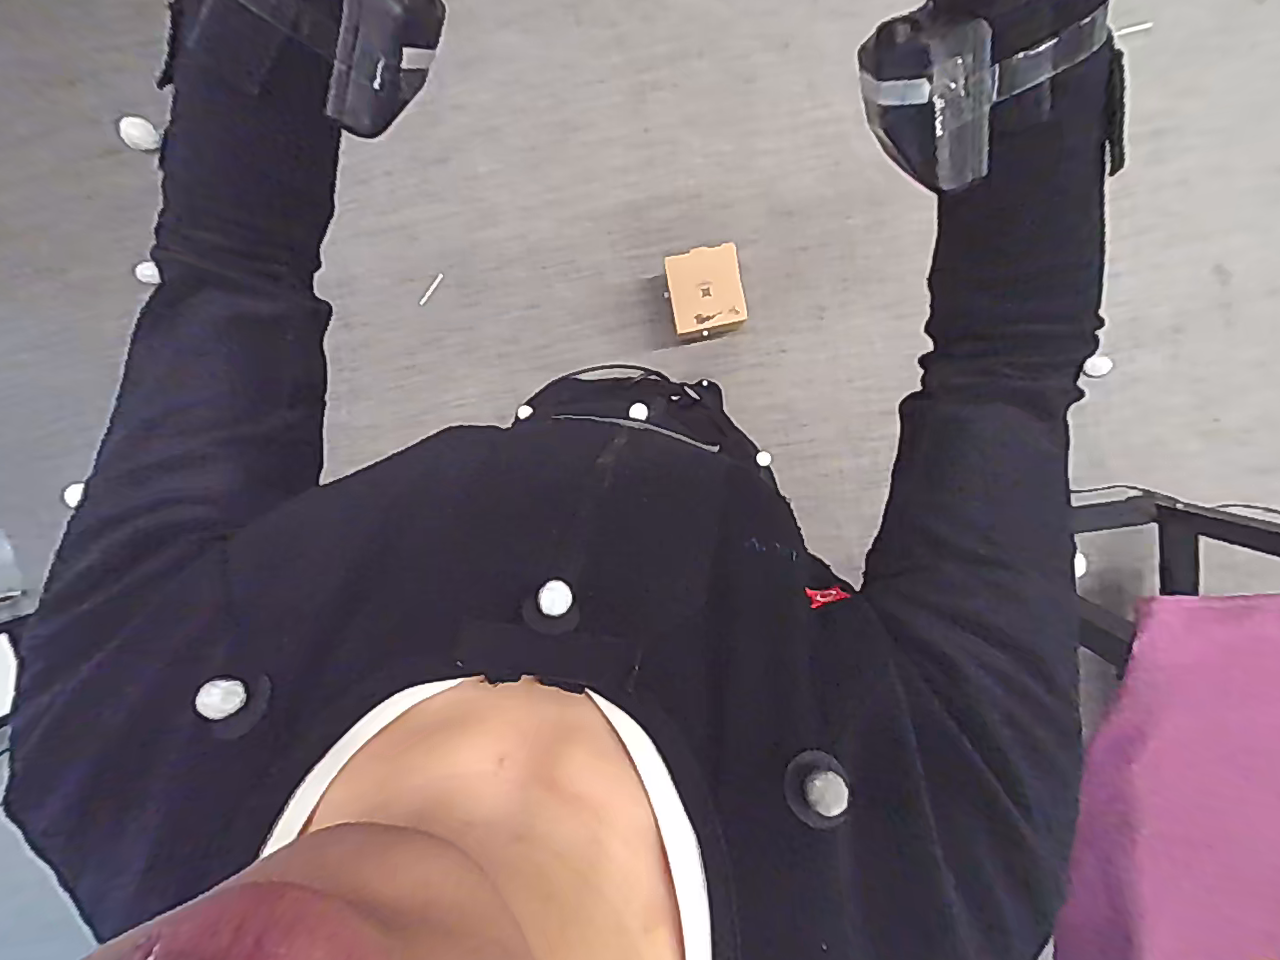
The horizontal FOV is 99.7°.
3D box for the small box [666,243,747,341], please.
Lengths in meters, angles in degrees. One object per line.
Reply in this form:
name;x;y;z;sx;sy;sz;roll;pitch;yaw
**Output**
small box;0.156;-0.447;1.312;0.168;0.176;0.179;-10;97;6
